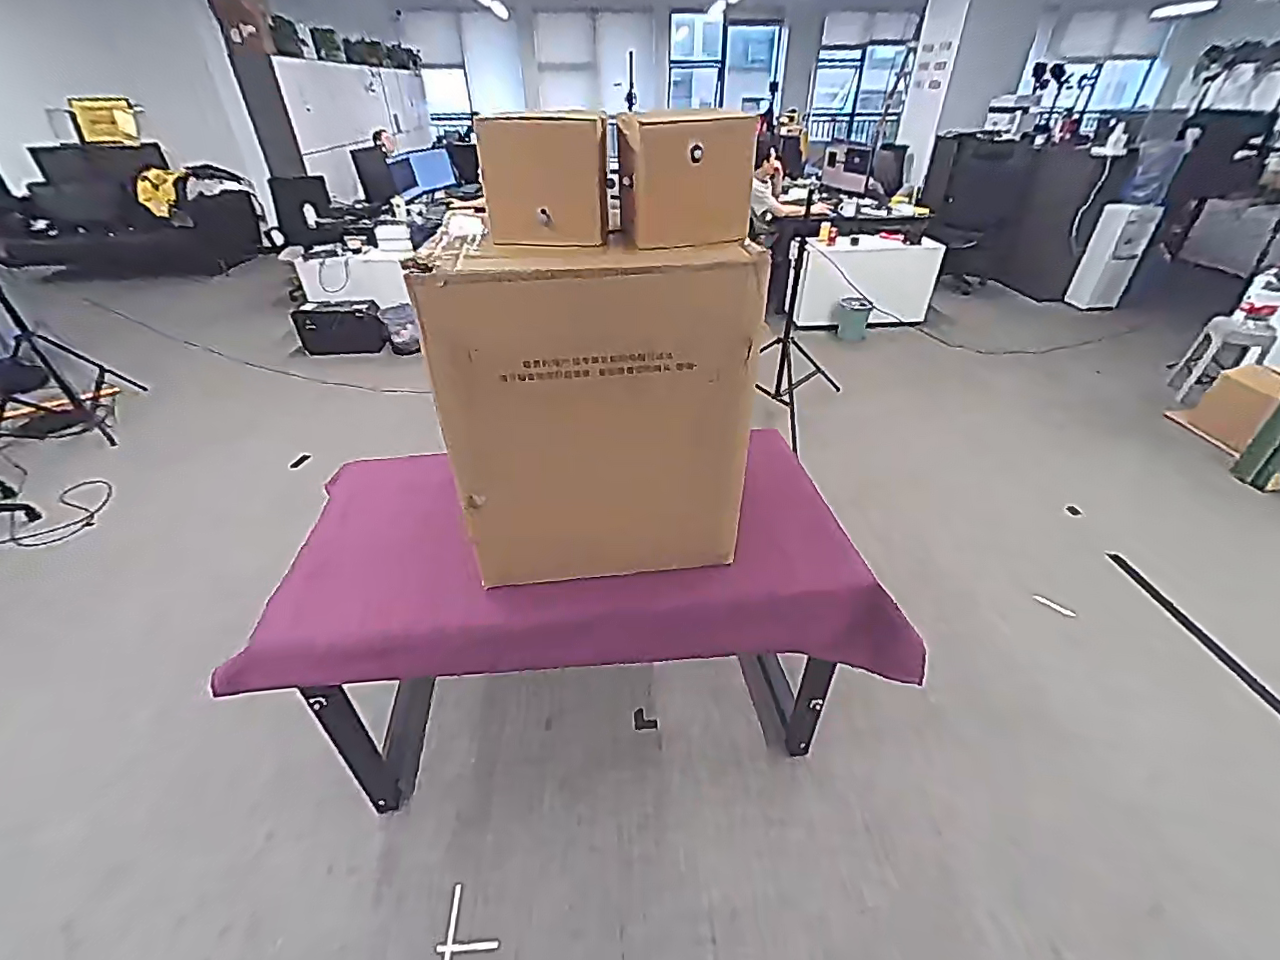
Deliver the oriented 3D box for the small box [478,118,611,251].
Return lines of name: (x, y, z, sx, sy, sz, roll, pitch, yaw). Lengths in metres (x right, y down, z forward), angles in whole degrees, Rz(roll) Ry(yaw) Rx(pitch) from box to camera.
small box: (-0.141, -0.475, 0.869, 0.179, 0.176, 0.168, 3, 35, 2)
